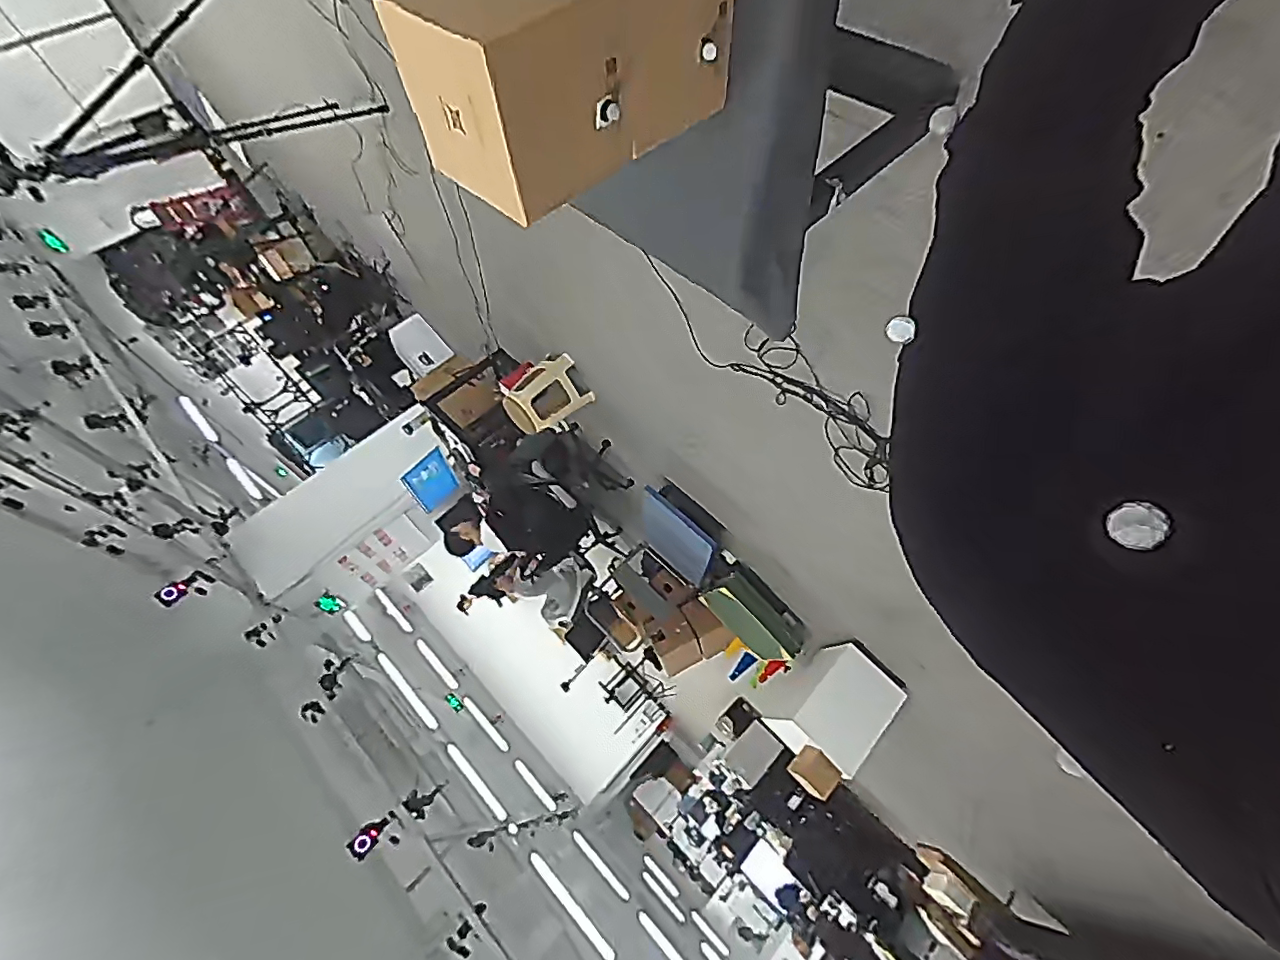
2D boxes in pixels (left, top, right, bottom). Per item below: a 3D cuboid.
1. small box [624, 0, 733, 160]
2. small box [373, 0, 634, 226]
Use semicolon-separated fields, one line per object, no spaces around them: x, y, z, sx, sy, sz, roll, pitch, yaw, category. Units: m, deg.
-0.015;-0.511;0.618;0.179;0.176;0.168;38;158;22;small box
-0.127;-0.408;0.562;0.179;0.176;0.168;38;159;23;small box
